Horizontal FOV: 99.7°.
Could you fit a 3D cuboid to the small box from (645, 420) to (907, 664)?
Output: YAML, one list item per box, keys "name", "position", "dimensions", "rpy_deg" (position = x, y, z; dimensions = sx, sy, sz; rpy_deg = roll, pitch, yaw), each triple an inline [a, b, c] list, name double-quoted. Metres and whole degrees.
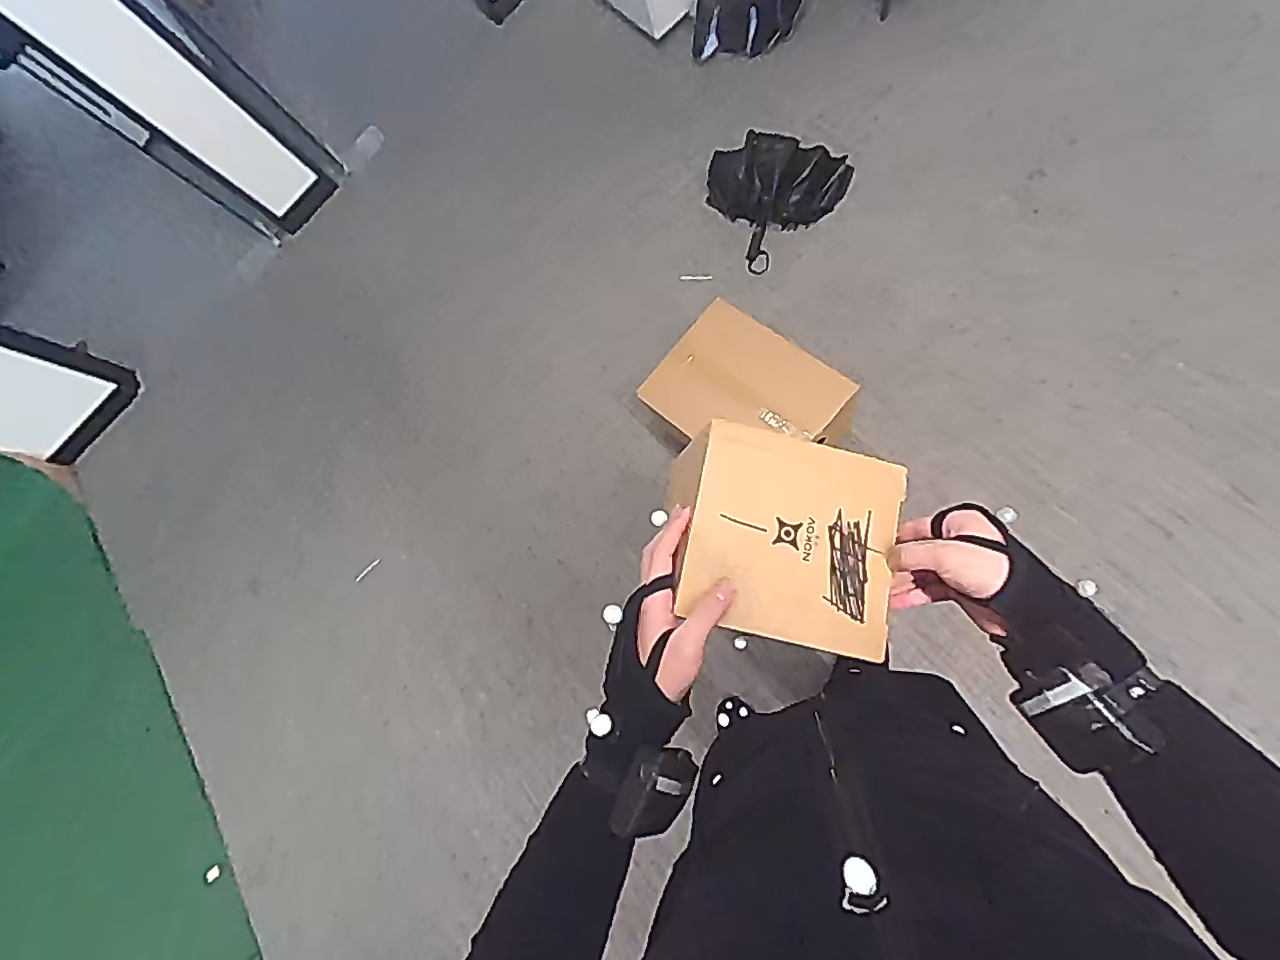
- name: "small box"
  position: [0.115, 0.062, 0.514]
  dimensions: [0.179, 0.176, 0.168]
  rpy_deg: [15, 77, -5]
